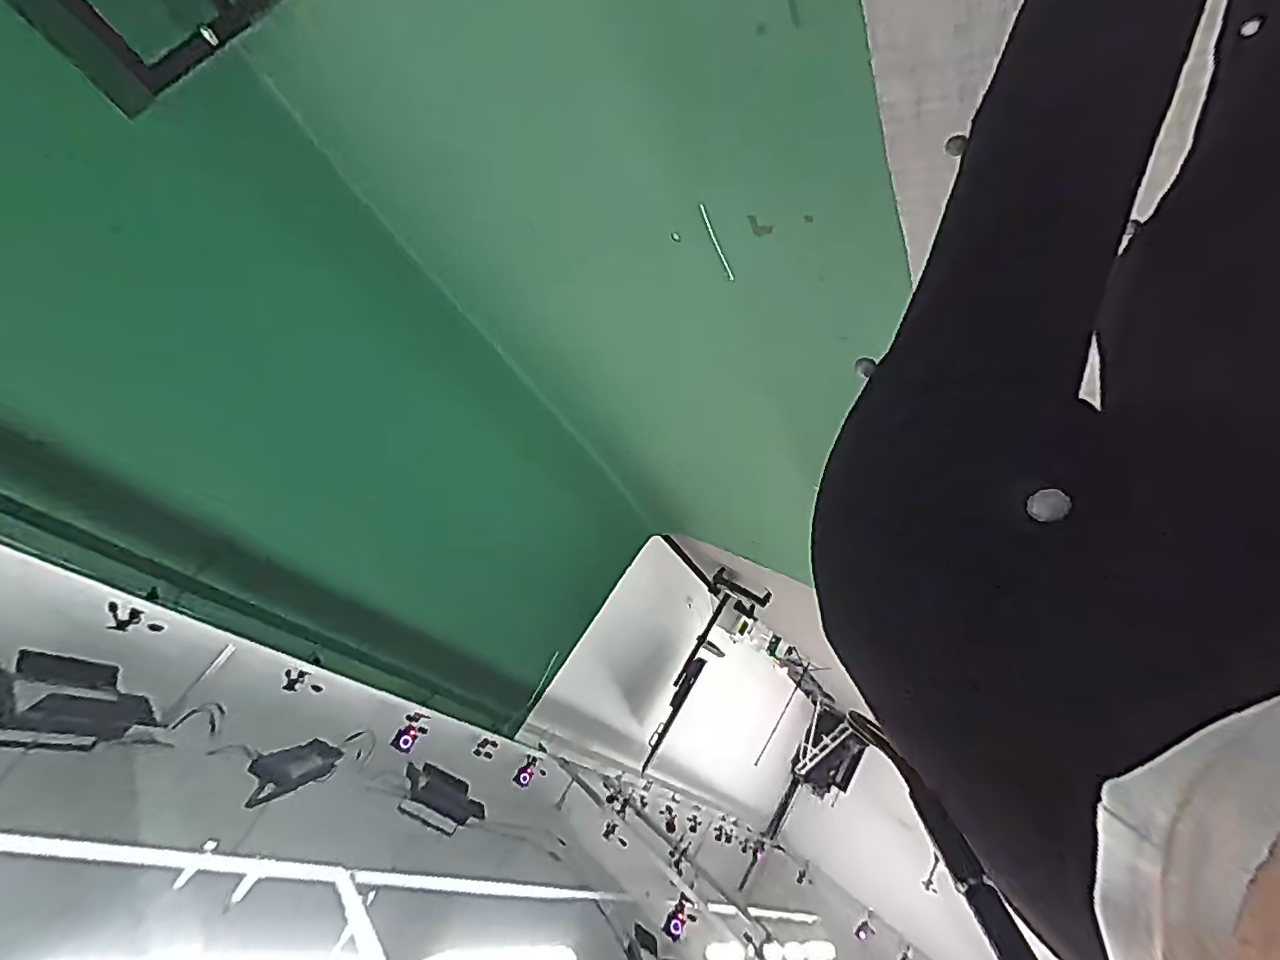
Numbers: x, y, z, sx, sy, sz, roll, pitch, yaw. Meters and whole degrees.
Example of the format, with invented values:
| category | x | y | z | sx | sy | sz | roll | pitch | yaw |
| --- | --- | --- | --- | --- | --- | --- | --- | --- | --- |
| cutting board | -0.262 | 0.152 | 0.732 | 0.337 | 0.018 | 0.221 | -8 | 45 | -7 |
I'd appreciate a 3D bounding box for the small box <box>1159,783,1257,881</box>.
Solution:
| category | x | y | z | sx | sy | sz | roll | pitch | yaw |
| --- | --- | --- | --- | --- | --- | --- | --- | --- | --- |
| small box | 1.657 | 1.022 | 1.581 | 0.168 | 0.176 | 0.179 | 17 | 156 | 48 |
